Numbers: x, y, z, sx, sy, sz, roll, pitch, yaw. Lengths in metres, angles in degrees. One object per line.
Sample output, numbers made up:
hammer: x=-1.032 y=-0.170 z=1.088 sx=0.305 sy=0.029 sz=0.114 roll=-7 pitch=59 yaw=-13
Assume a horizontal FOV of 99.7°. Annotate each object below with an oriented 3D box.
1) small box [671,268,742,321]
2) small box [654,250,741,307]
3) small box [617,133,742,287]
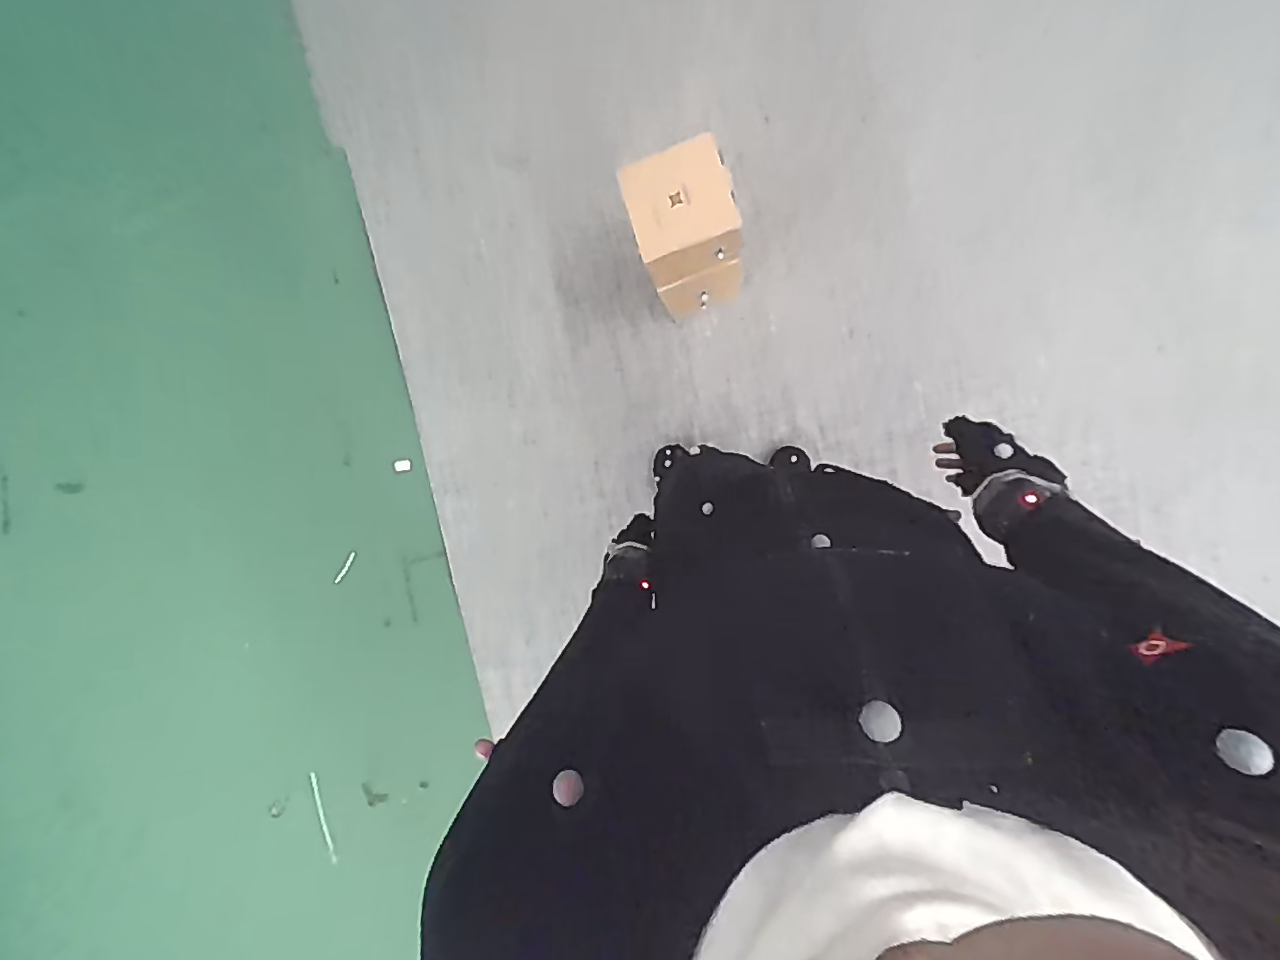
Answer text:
small box: x=0.136 y=-0.507 z=1.309 sx=0.179 sy=0.176 sz=0.168 roll=-22 pitch=91 yaw=11
small box: x=0.106 y=-0.488 z=1.150 sx=0.179 sy=0.176 sz=0.168 roll=-17 pitch=92 yaw=11
small box: x=0.079 y=-0.480 z=0.990 sx=0.179 sy=0.176 sz=0.168 roll=-18 pitch=91 yaw=13
